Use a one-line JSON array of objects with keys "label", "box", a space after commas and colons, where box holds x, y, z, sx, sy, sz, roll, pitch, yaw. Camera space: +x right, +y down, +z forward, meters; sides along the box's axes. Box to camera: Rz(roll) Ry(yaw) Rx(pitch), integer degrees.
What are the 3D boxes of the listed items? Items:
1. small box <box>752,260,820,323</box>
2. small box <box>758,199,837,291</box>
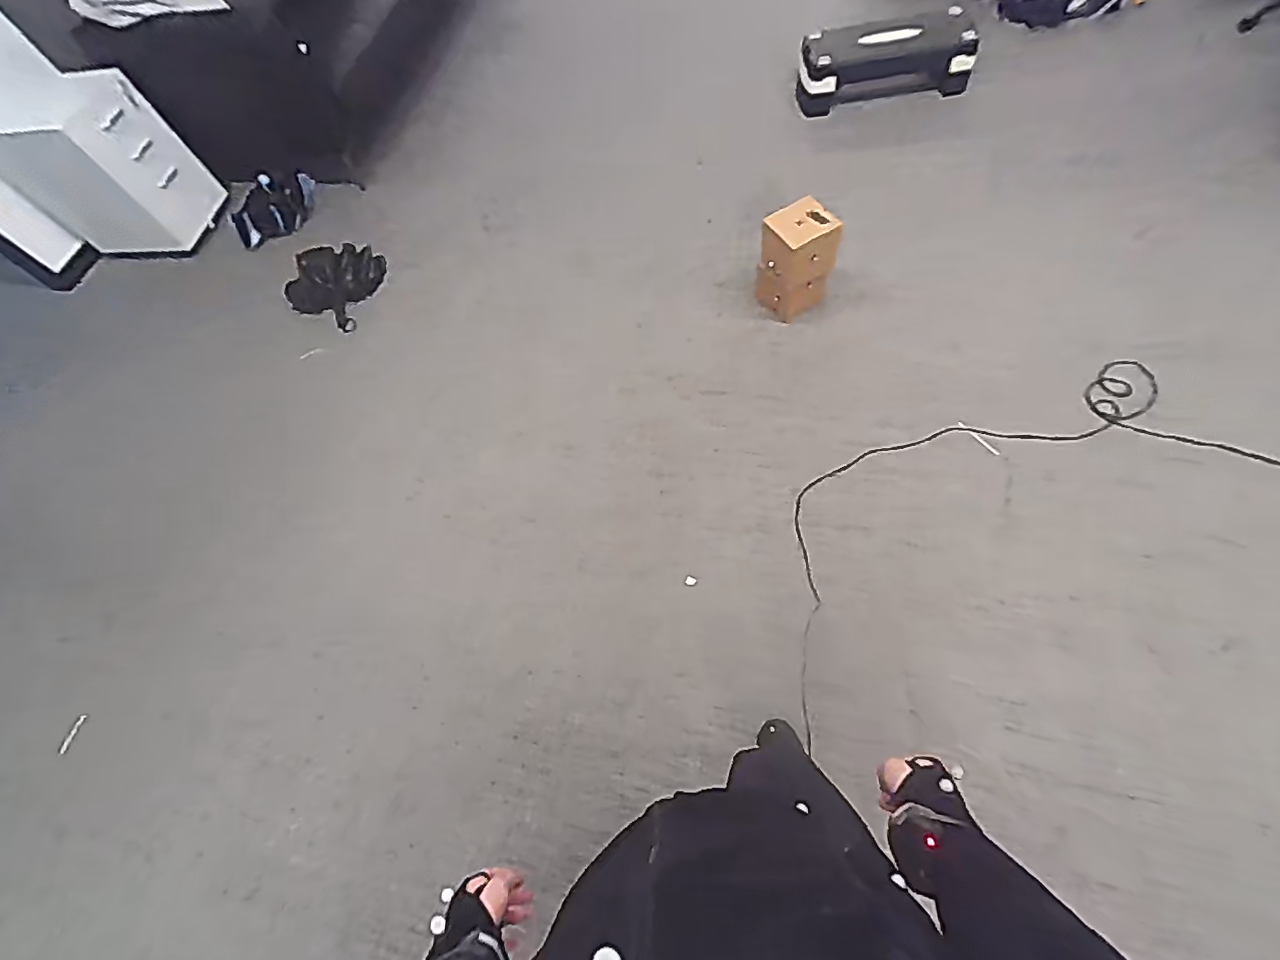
[{"label": "small box", "box": [0.504, -0.680, 1.865, 0.179, 0.176, 0.168, -35, 64, -10]}, {"label": "small box", "box": [0.490, -0.738, 1.711, 0.179, 0.176, 0.168, -29, 63, -5]}]
